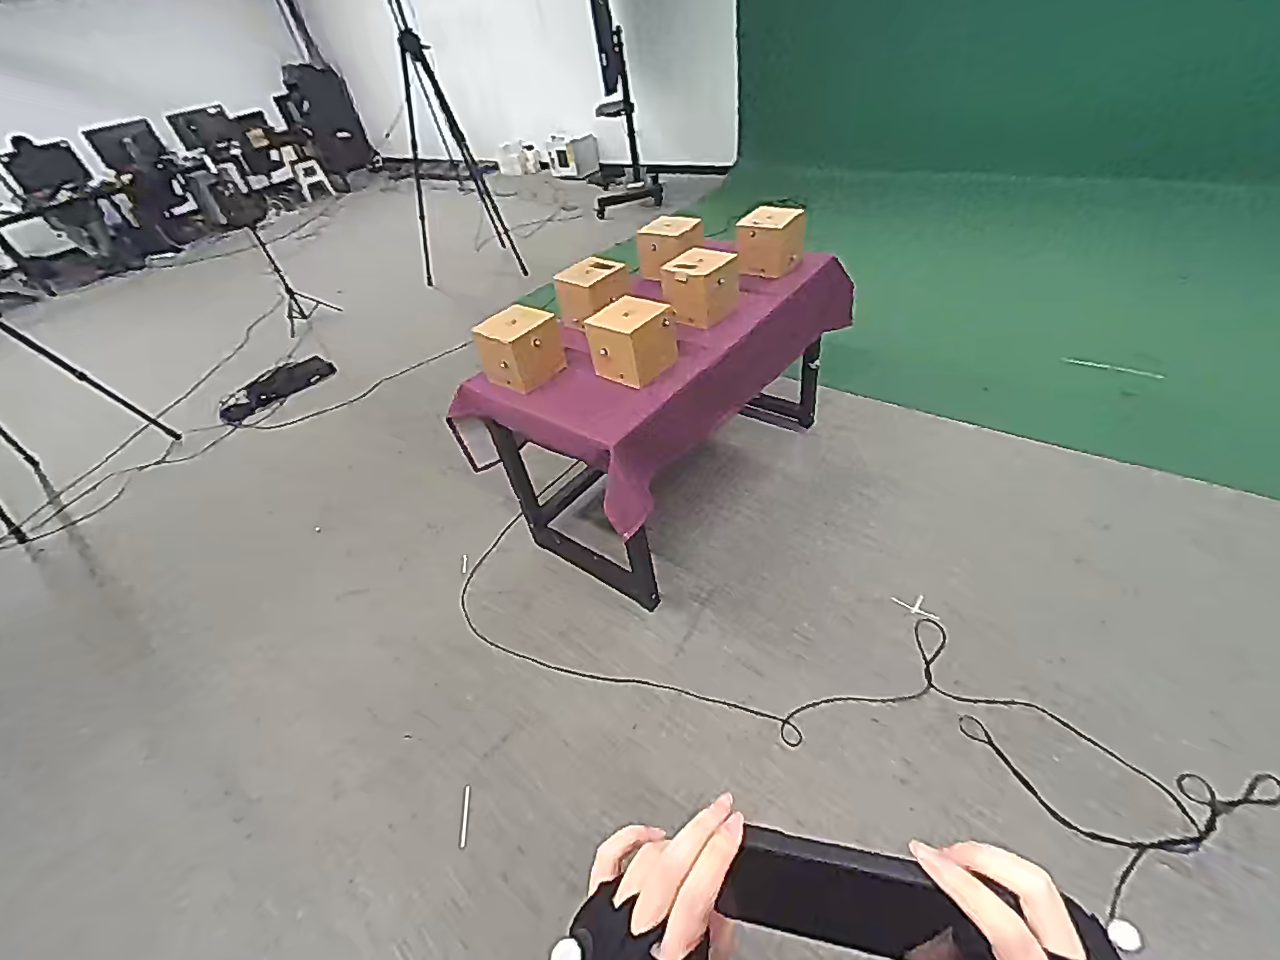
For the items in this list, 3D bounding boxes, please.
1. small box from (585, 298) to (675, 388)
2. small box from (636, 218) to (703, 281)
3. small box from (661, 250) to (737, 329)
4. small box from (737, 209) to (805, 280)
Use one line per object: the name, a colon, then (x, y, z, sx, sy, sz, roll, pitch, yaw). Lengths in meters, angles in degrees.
small box: (-0.019, -0.374, 1.479, 0.168, 0.176, 0.179, 25, 52, 34)
small box: (0.112, -0.820, 1.939, 0.179, 0.176, 0.168, 22, 52, 31)
small box: (0.189, -0.587, 1.668, 0.168, 0.176, 0.179, 27, 53, 35)
small box: (0.447, -0.811, 1.856, 0.168, 0.176, 0.179, 22, 51, 33)
